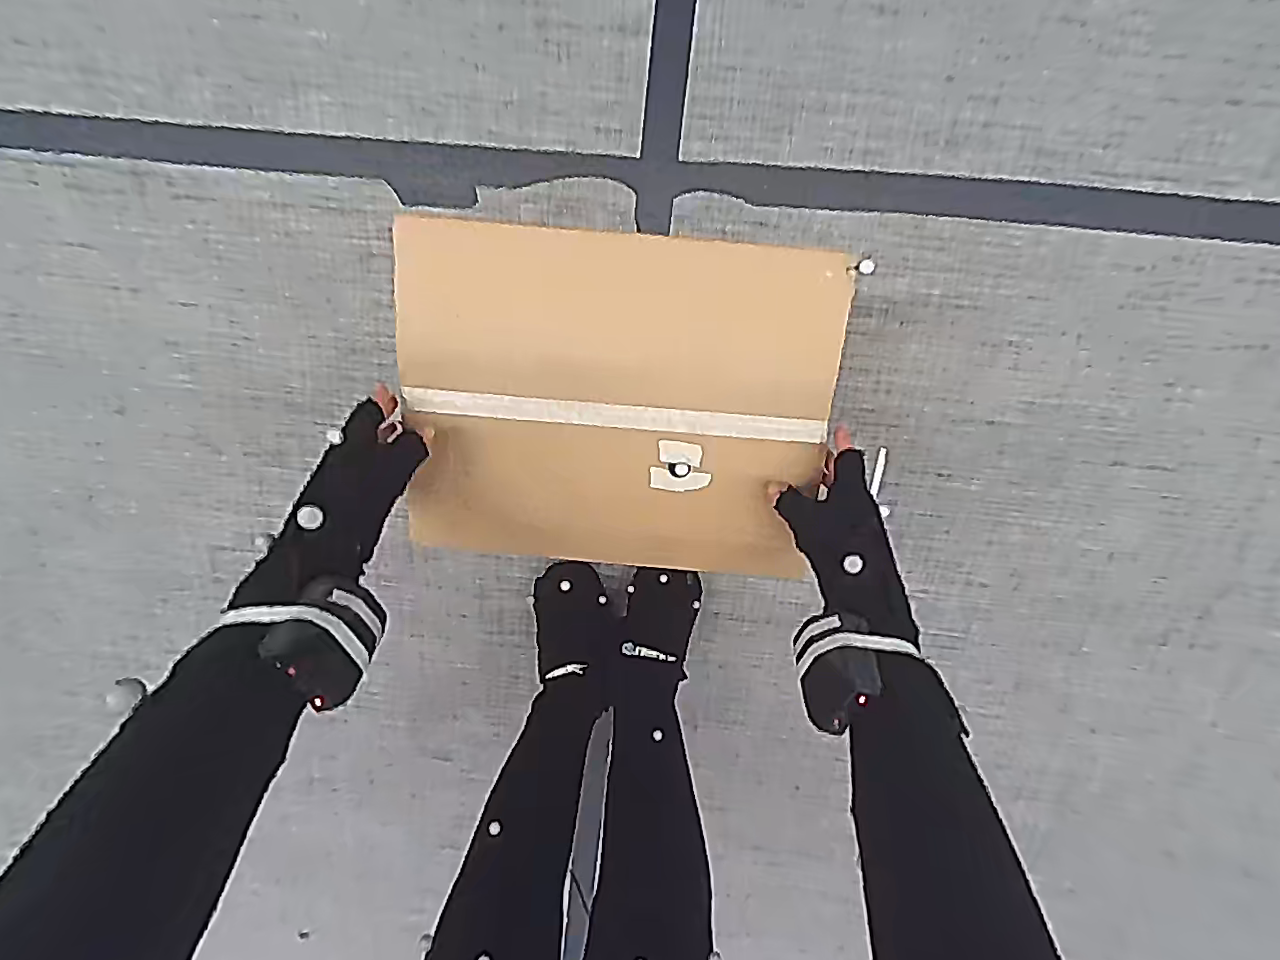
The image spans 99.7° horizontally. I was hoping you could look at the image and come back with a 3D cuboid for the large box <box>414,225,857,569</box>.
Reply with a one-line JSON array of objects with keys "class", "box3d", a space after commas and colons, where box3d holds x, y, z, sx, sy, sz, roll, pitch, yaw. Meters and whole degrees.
[{"class": "large box", "box3d": [-0.013, -0.107, 0.663, 0.408, 0.320, 0.320, 5, 107, 0]}]
